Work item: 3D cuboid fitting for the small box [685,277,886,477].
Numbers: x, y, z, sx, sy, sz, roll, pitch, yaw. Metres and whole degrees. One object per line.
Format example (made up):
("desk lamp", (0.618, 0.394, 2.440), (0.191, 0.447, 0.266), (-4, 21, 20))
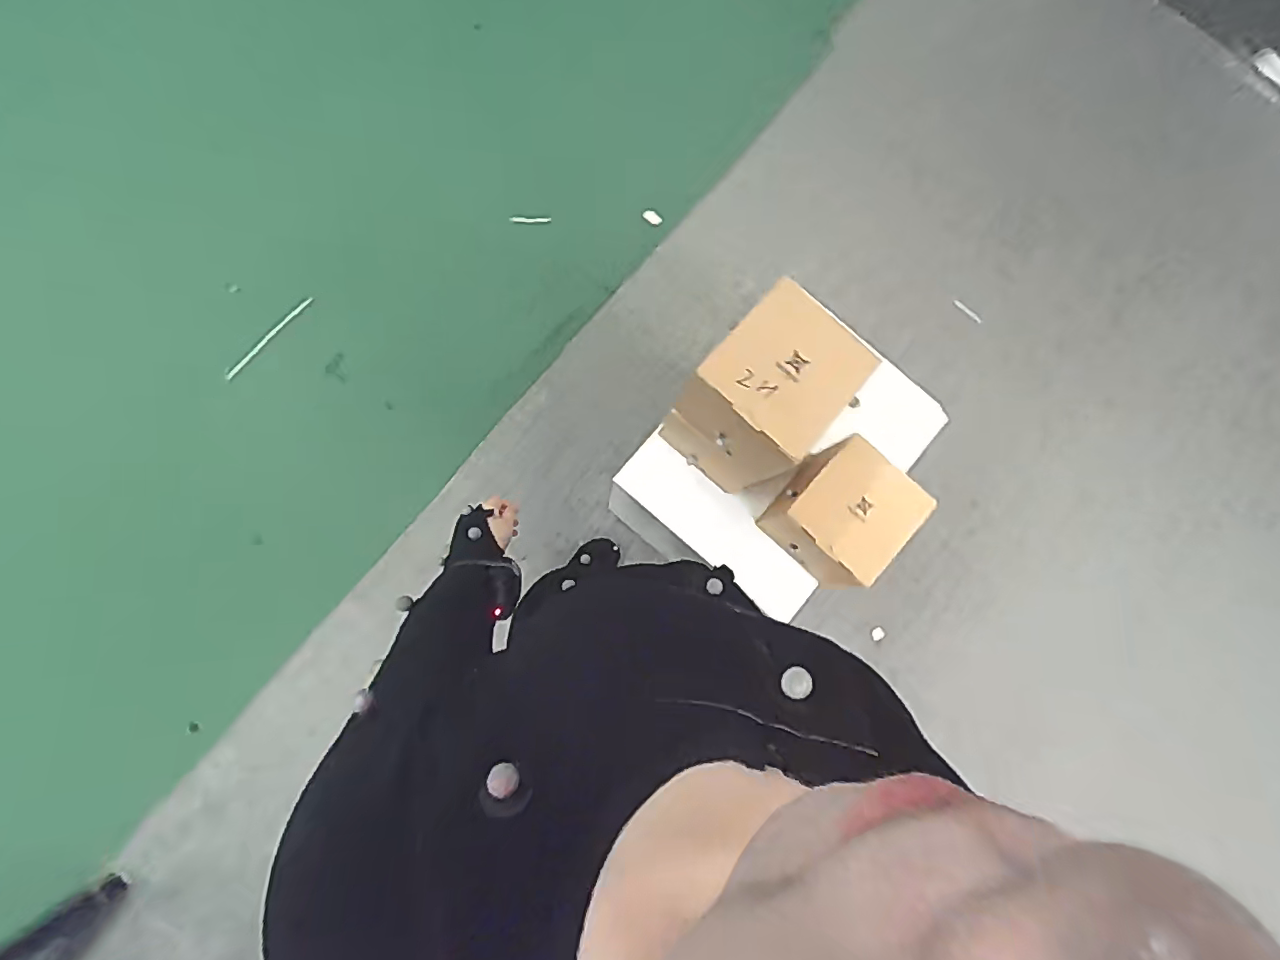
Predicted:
("small box", (0.180, -0.126, 0.729), (0.168, 0.176, 0.179), (43, 81, 2))

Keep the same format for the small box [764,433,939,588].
("small box", (0.329, 0.054, 0.883), (0.168, 0.176, 0.179), (43, 82, 4))

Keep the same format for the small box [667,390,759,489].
("small box", (0.161, -0.105, 0.891), (0.168, 0.176, 0.179), (42, 82, 1))
